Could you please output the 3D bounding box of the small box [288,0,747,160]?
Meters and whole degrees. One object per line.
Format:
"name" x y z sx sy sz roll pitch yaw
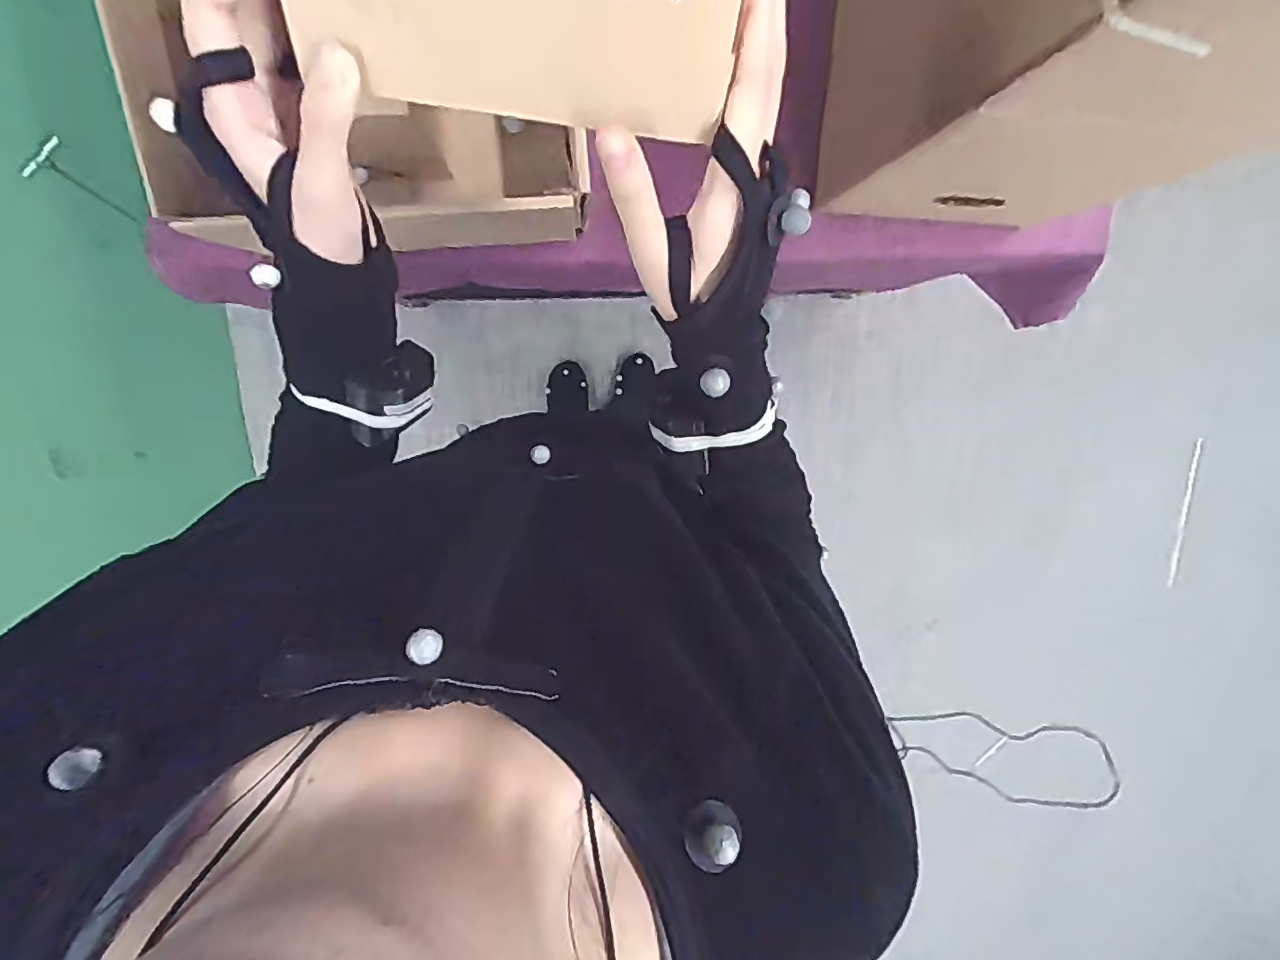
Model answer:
"small box" -0.036 -0.264 0.229 0.179 0.176 0.168 8 136 -3
